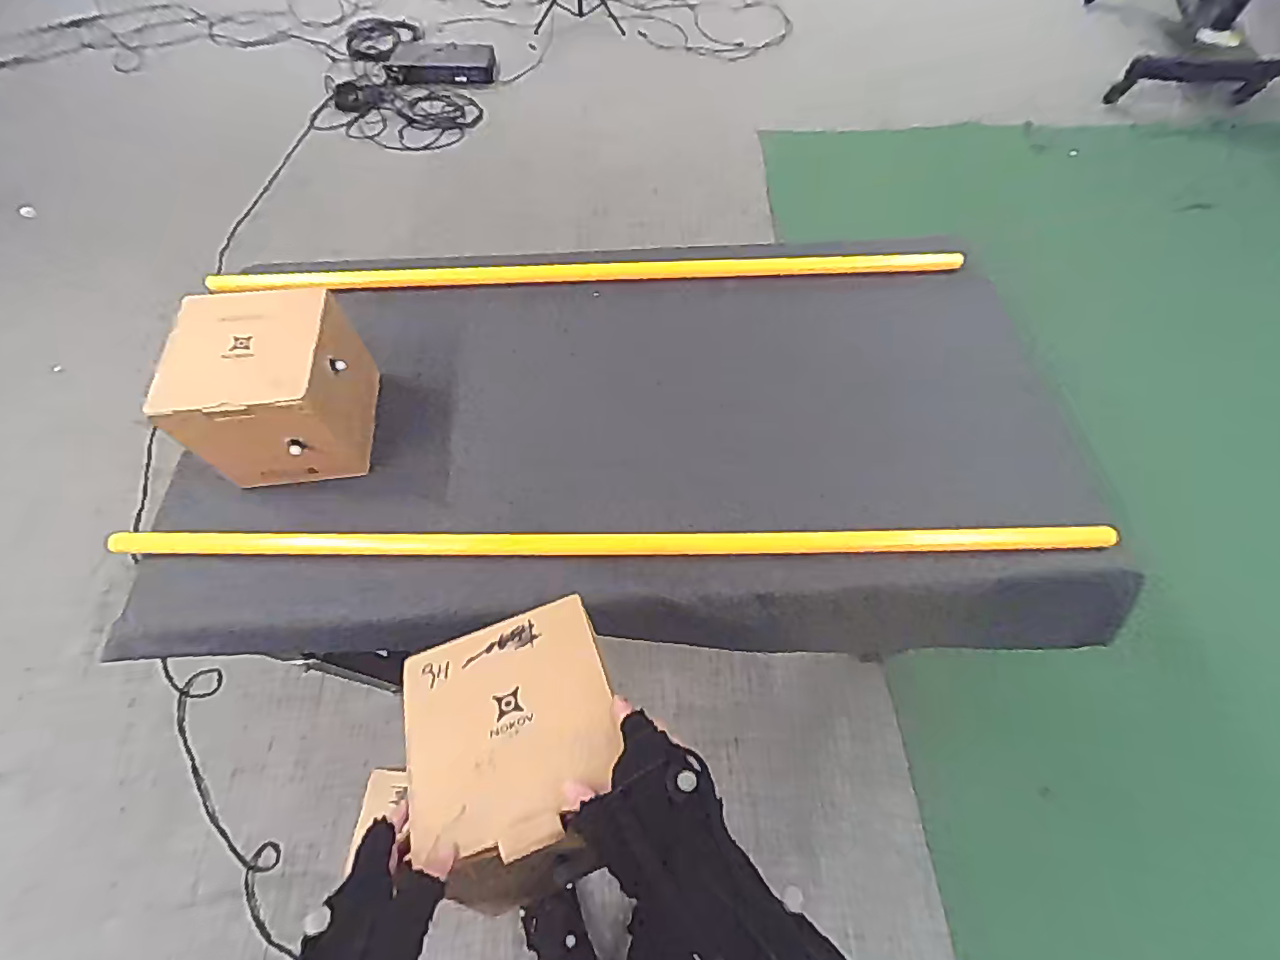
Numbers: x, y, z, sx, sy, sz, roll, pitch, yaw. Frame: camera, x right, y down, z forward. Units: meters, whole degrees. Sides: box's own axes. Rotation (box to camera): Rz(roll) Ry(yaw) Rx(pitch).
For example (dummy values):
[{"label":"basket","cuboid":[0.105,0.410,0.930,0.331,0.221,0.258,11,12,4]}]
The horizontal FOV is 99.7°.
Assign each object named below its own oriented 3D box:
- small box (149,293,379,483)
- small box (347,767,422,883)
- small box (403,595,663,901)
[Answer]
[{"label":"small box","cuboid":[-0.451,-0.107,0.686,0.168,0.176,0.179,-6,60,-5]},{"label":"small box","cuboid":[-0.446,0.684,1.088,0.168,0.176,0.179,4,63,3]},{"label":"small box","cuboid":[-0.091,0.243,0.488,0.168,0.176,0.179,-22,45,-10]}]
